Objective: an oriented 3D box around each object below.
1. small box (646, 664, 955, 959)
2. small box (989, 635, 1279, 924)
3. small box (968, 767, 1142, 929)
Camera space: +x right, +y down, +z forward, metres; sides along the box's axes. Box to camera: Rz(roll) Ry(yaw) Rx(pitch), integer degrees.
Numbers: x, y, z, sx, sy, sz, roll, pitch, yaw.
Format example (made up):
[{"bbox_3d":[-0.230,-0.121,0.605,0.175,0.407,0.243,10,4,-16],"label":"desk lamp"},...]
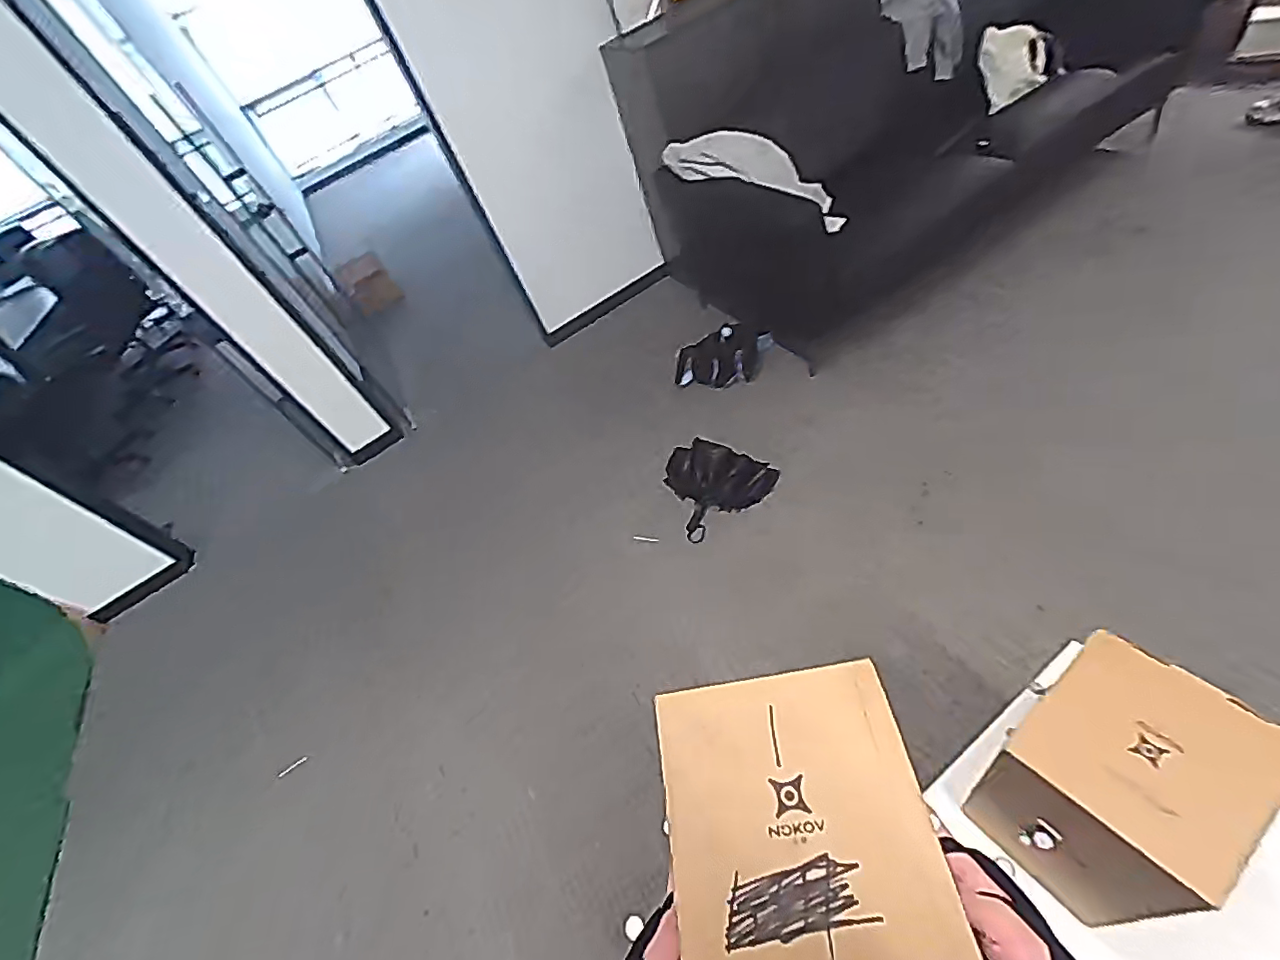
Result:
[{"bbox_3d":[0.108,0.266,0.414,0.168,0.176,0.179,-12,49,8],"label":"small box"},{"bbox_3d":[0.487,0.300,0.546,0.179,0.176,0.168,-40,47,-13],"label":"small box"},{"bbox_3d":[0.537,0.402,0.663,0.179,0.176,0.168,-37,47,-12],"label":"small box"}]
